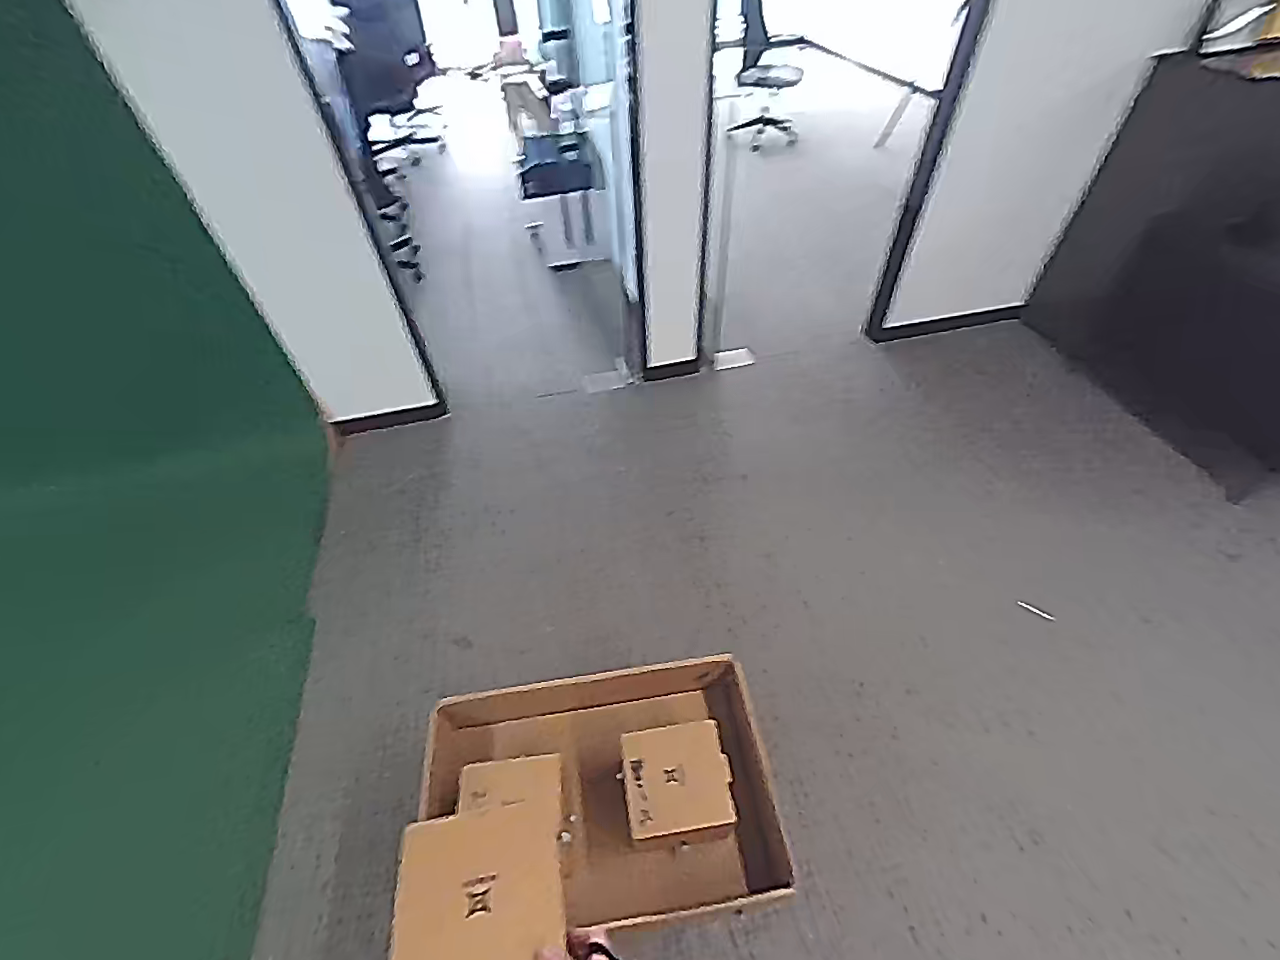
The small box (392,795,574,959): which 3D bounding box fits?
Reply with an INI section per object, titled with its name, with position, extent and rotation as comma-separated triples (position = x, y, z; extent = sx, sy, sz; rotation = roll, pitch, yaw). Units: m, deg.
[small box]
position = -0.163, 0.493, 0.598
extent = 0.168, 0.176, 0.179
rotation = -6, 34, -11
